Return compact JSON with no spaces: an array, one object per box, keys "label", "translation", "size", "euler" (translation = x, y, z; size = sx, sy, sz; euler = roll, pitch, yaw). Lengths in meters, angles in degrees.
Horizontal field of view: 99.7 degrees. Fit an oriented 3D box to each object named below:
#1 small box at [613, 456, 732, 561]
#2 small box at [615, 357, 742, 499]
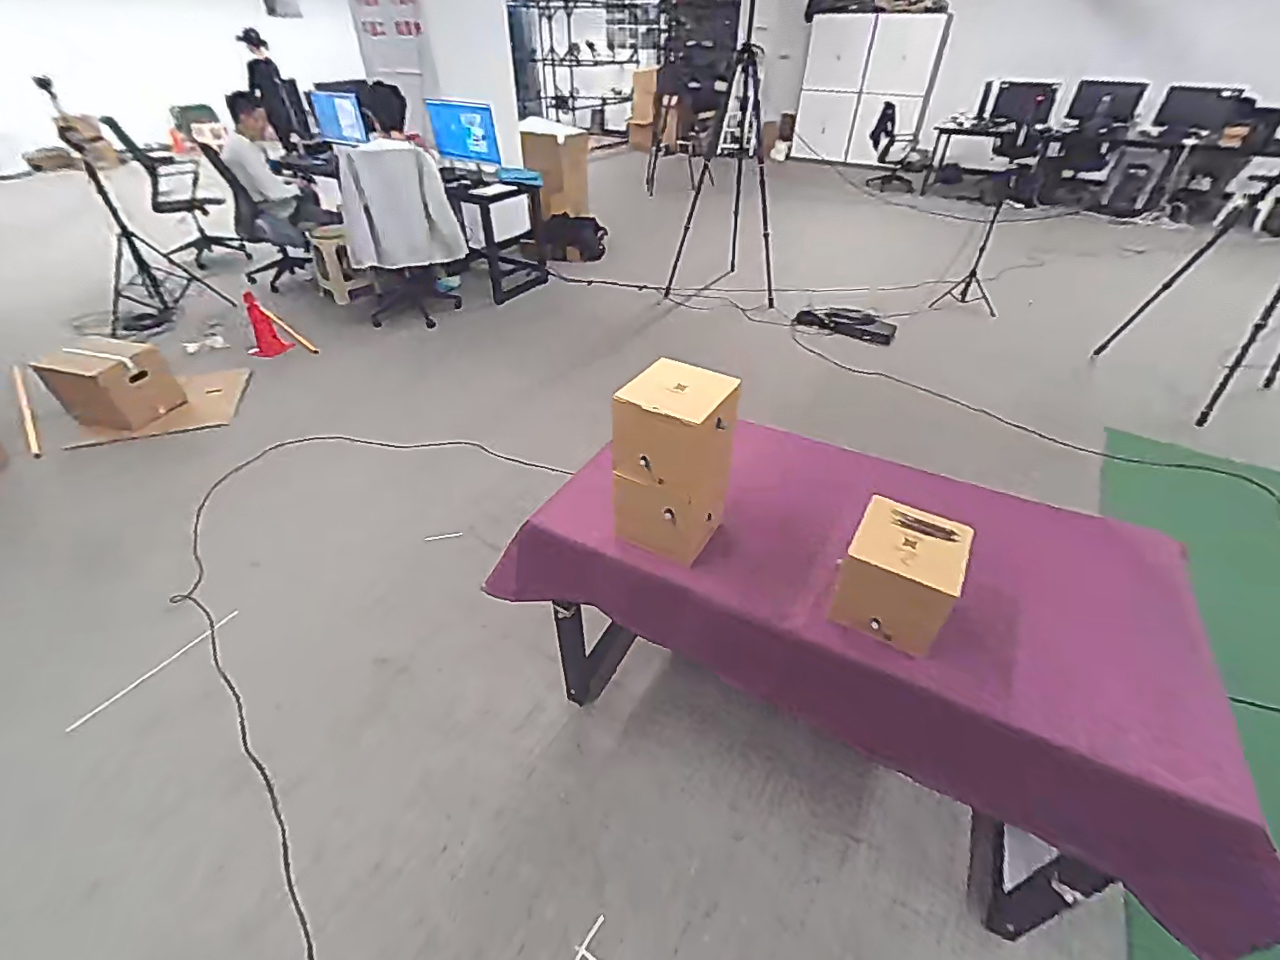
[{"label":"small box","translation":[0.064,0.035,1.082],"size":[0.179,0.176,0.168],"euler":[21,43,24]},{"label":"small box","translation":[0.067,-0.097,0.987],"size":[0.168,0.176,0.179],"euler":[22,45,24]}]
